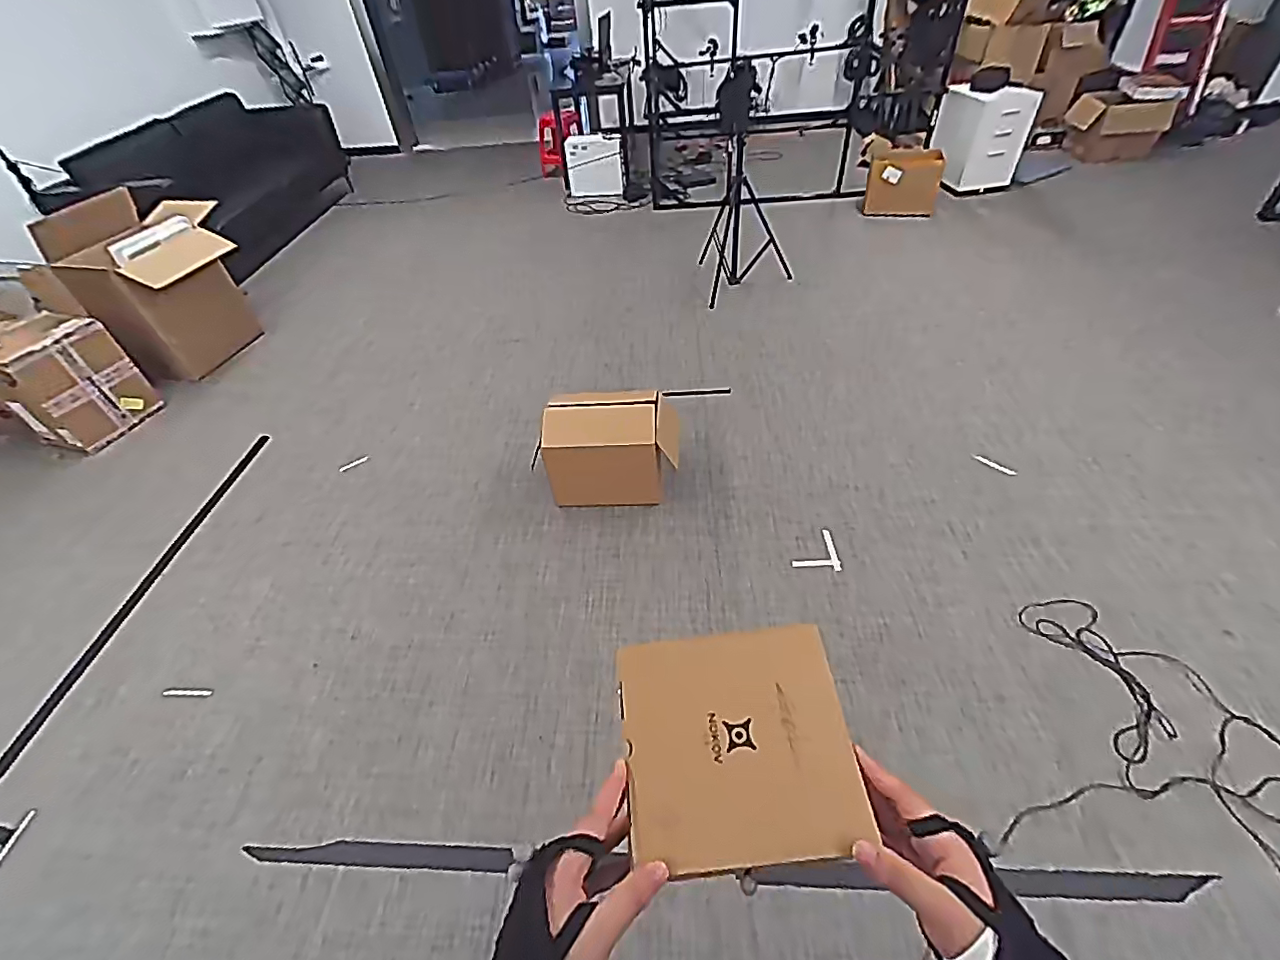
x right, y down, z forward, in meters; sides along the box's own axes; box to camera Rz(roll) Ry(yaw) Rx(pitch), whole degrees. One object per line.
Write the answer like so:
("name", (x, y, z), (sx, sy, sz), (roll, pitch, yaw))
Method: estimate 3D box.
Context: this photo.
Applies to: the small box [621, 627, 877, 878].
("small box", (0.082, 0.251, 0.491), (0.179, 0.176, 0.168), (-6, 53, 0))
